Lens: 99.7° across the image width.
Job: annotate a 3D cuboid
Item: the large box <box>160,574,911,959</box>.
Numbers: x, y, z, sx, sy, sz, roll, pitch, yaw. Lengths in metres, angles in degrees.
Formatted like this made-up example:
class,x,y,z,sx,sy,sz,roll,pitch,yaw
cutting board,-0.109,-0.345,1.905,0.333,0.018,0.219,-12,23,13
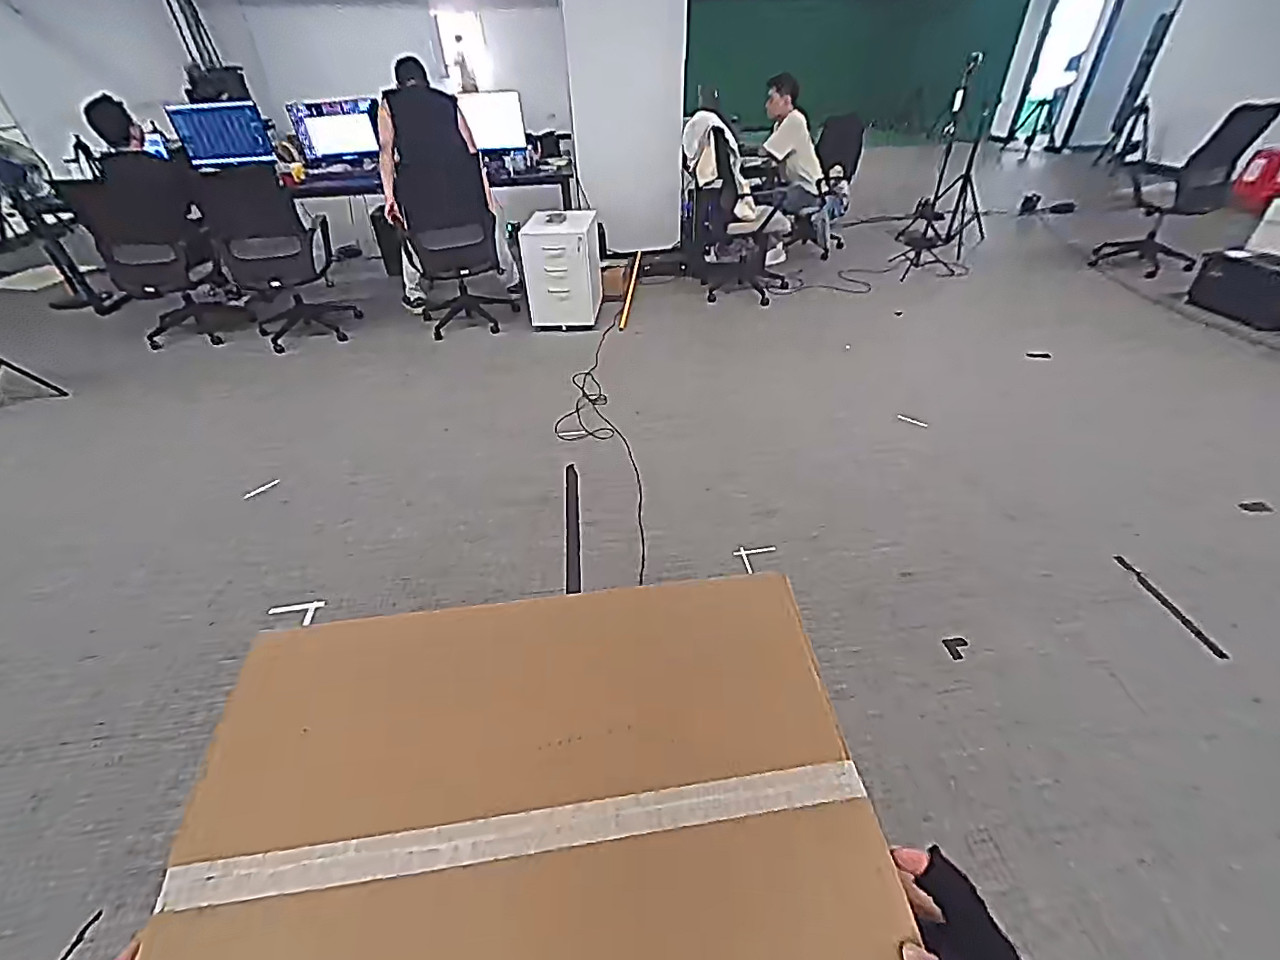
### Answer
class,x,y,z,sx,sy,sz,roll,pitch,yaw
large box,-0.062,0.311,0.440,0.408,0.320,0.320,-6,48,-5
